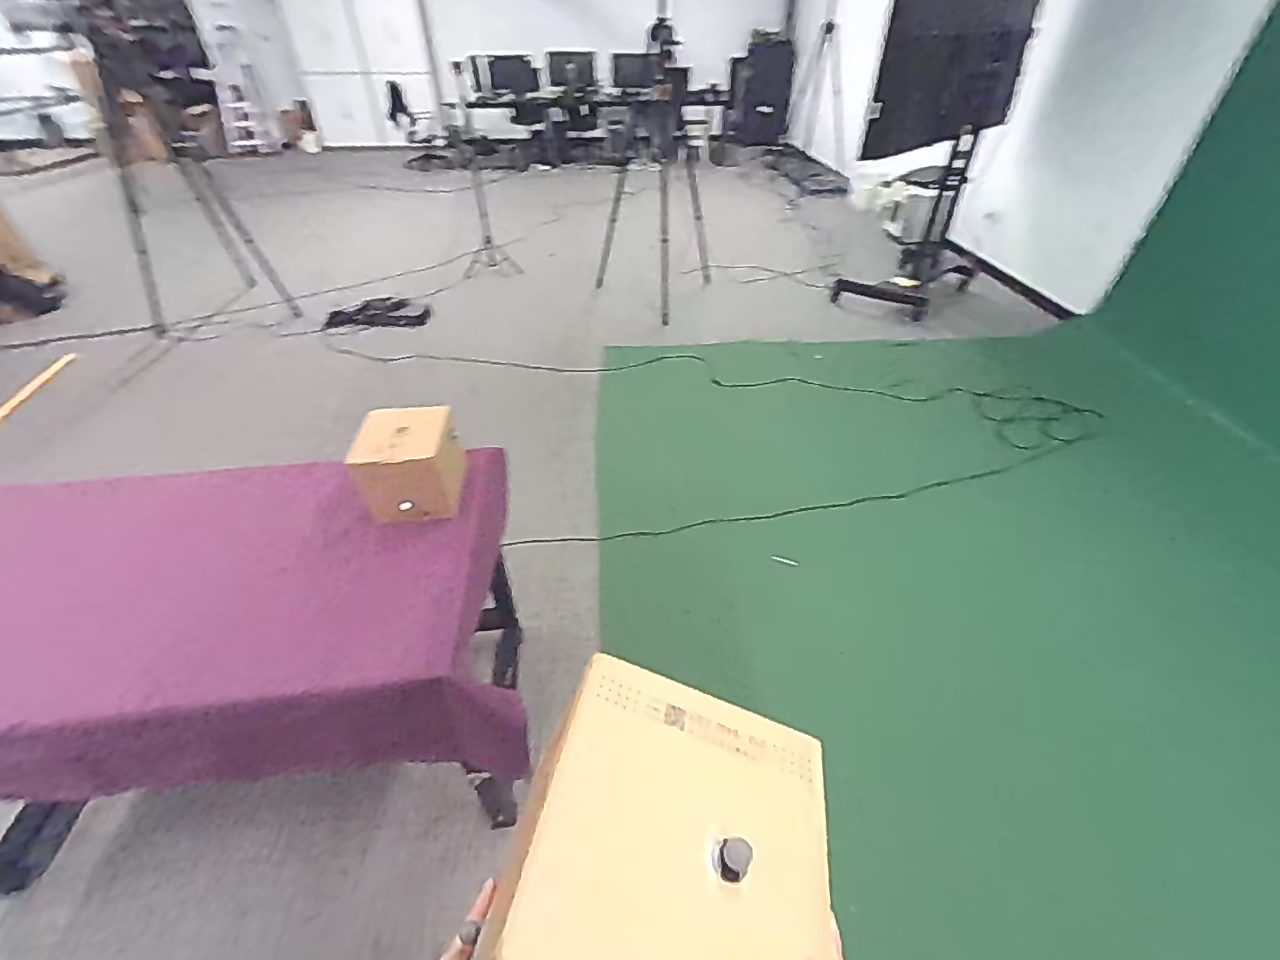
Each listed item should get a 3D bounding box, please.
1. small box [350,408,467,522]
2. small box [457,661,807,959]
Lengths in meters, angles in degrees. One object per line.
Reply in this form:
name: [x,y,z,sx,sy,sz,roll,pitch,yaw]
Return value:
small box: [-0.472,-0.032,1.135,0.168,0.176,0.179,-4,43,-2]
small box: [-0.009,0.250,0.354,0.168,0.179,0.176,22,38,-3]
